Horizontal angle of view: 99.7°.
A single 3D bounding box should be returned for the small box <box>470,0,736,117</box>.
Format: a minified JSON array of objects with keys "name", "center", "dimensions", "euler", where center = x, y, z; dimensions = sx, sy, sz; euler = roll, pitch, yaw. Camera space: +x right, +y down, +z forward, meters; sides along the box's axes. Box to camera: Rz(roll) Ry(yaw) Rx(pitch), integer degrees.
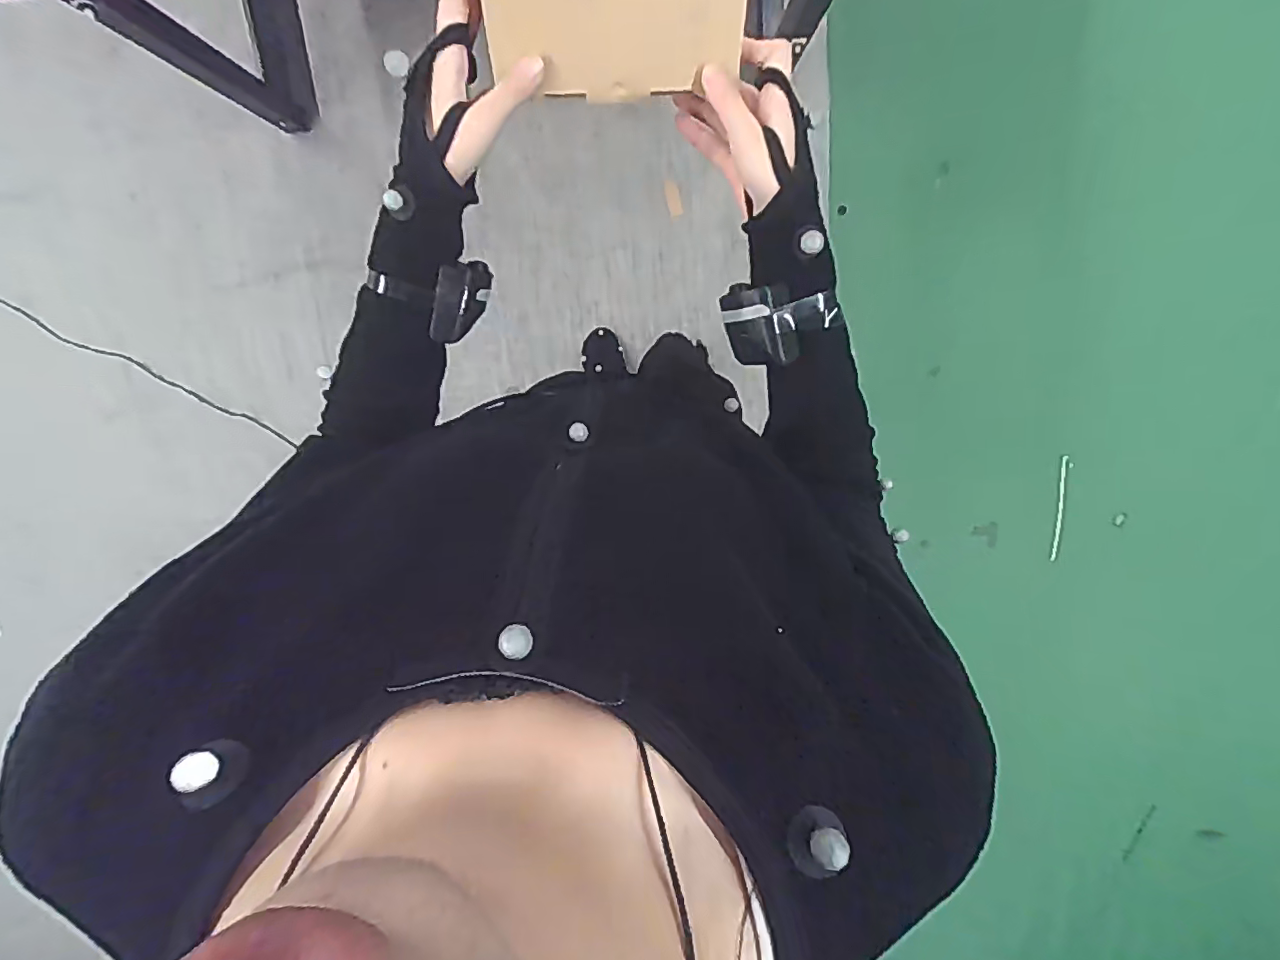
[{"name":"small box","center":[-0.030,-0.370,0.359],"dimensions":[0.168,0.176,0.179],"euler":[-6,140,-6]}]
